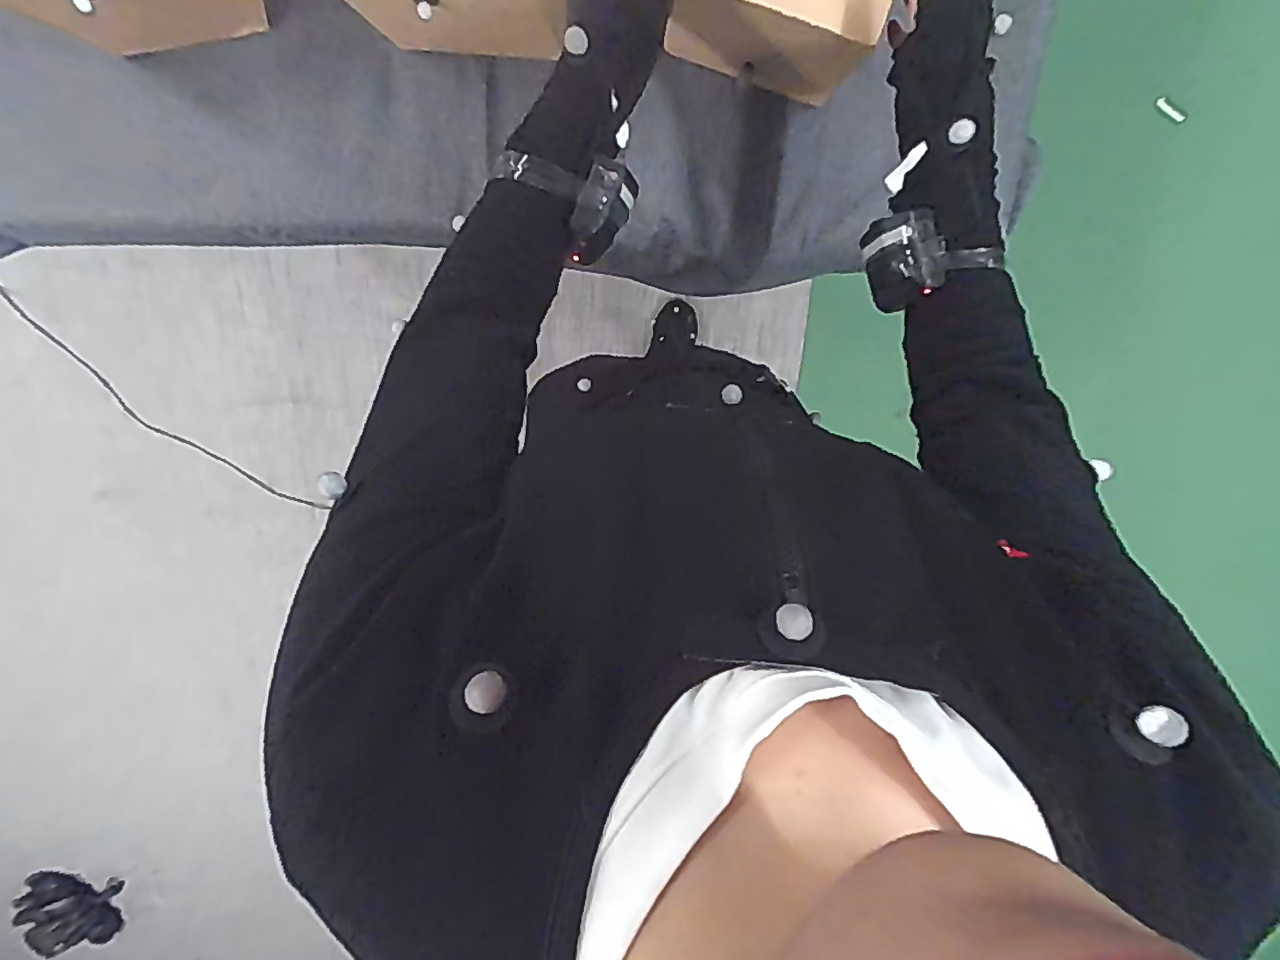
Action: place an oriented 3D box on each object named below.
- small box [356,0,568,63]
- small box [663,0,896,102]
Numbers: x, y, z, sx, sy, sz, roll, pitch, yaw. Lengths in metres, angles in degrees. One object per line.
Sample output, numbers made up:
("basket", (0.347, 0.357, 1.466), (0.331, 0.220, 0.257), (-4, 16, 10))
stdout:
("small box", (-0.160, -0.486, 0.461), (0.179, 0.176, 0.168), (4, 112, 0))
("small box", (0.126, -0.456, 0.463), (0.179, 0.176, 0.168), (16, 111, -5))
